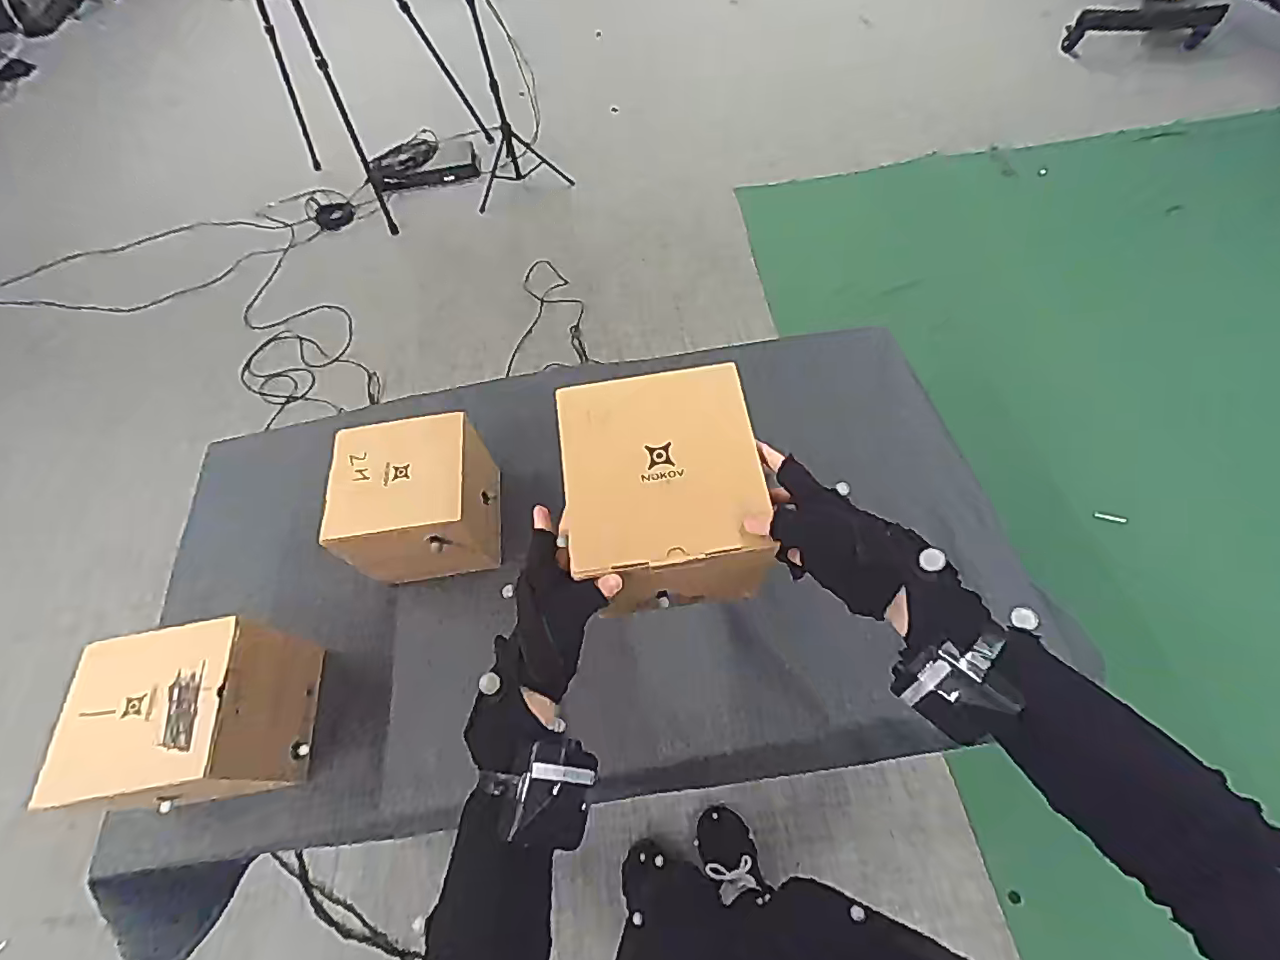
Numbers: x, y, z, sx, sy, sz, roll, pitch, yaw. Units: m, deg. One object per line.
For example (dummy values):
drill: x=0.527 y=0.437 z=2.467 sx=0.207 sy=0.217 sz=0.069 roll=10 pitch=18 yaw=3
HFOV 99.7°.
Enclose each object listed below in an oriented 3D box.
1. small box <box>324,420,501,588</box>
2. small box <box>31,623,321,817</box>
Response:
small box: x=-0.300 y=0.040 z=0.758 sx=0.179 sy=0.176 sz=0.168 roll=-8 pitch=60 yaw=0
small box: x=-0.511 y=0.282 z=0.633 sx=0.179 sy=0.176 sz=0.168 roll=-10 pitch=59 yaw=-1
